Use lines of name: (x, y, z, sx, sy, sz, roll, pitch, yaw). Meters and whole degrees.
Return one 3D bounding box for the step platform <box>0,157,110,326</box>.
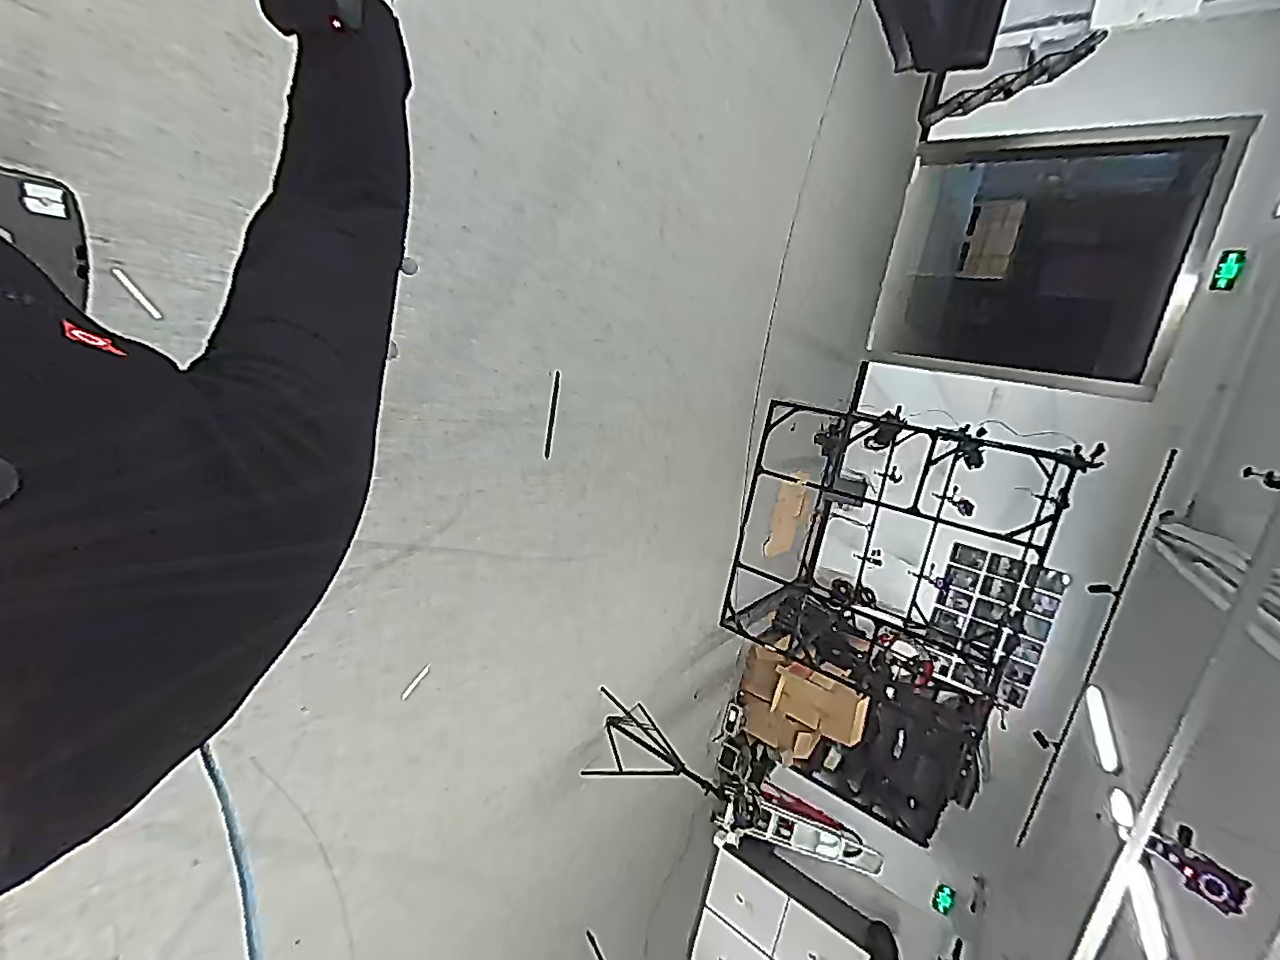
step platform: (-1.302, -0.427, 0.840, 0.684, 0.204, 0.286, -10, 114, -55)
